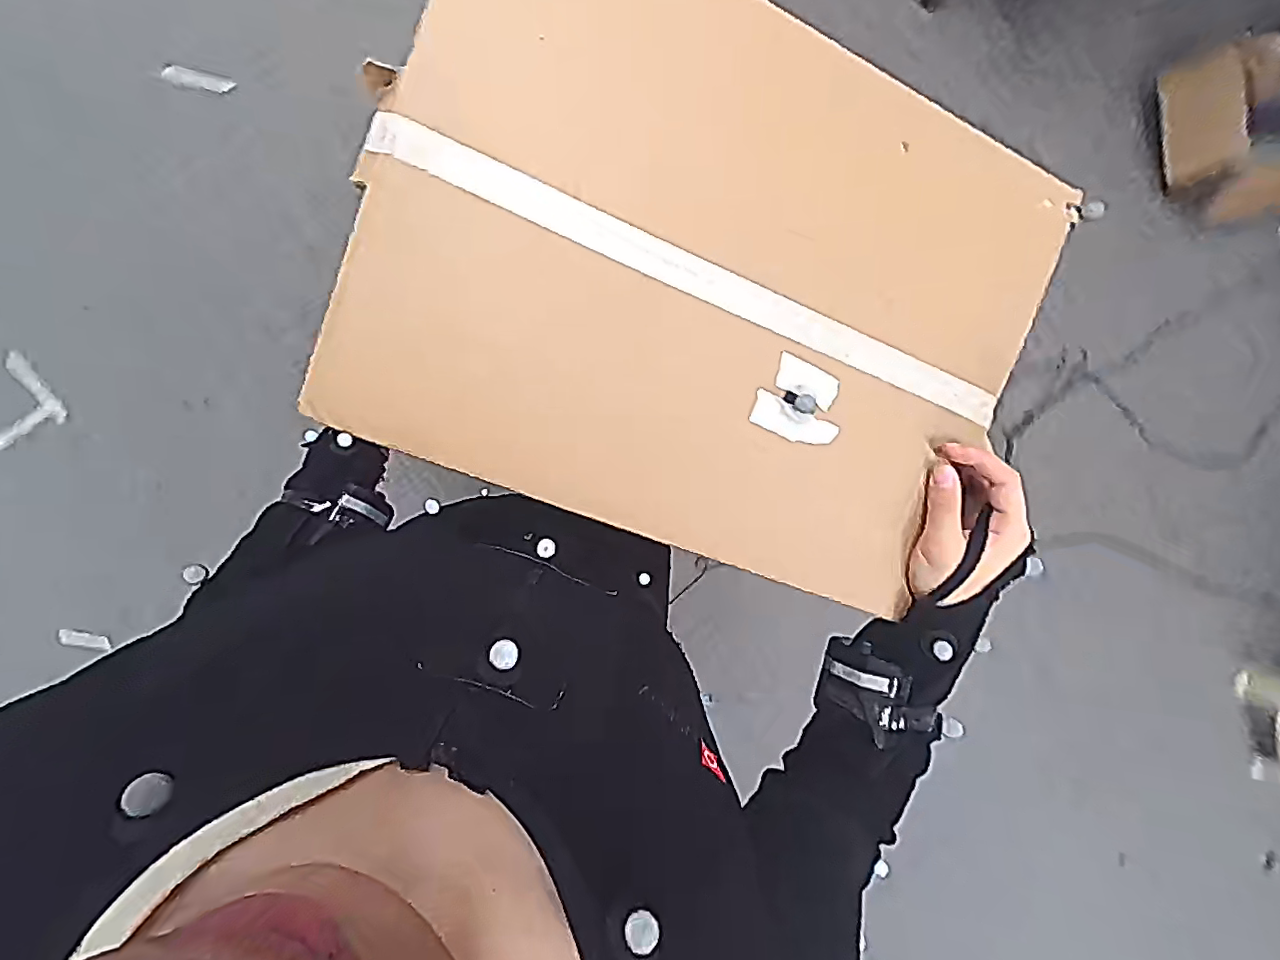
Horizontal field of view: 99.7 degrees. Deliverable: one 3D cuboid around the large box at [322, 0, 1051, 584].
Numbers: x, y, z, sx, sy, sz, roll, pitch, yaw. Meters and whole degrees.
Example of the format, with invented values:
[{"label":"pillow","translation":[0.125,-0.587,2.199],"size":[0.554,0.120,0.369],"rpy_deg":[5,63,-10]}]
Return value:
[{"label":"large box","translation":[0.021,-0.145,0.478],"size":[0.408,0.320,0.320],"rpy_deg":[19,95,-14]}]
